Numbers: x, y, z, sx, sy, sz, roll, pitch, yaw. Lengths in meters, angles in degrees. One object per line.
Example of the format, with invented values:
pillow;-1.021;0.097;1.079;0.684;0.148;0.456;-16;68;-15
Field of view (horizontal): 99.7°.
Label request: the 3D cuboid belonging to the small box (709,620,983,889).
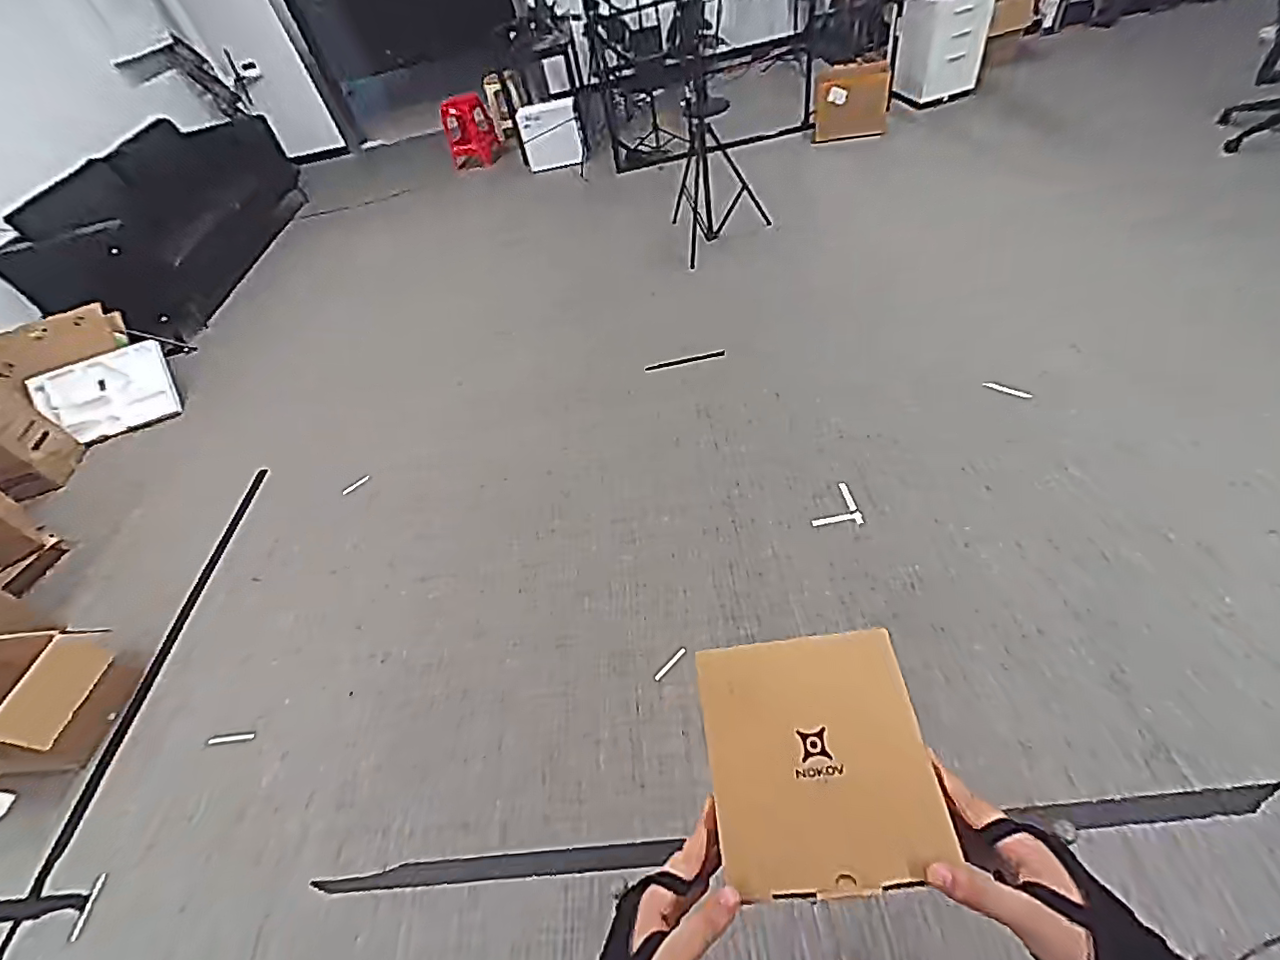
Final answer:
small box;0.153;0.242;0.478;0.168;0.176;0.179;-8;57;4
